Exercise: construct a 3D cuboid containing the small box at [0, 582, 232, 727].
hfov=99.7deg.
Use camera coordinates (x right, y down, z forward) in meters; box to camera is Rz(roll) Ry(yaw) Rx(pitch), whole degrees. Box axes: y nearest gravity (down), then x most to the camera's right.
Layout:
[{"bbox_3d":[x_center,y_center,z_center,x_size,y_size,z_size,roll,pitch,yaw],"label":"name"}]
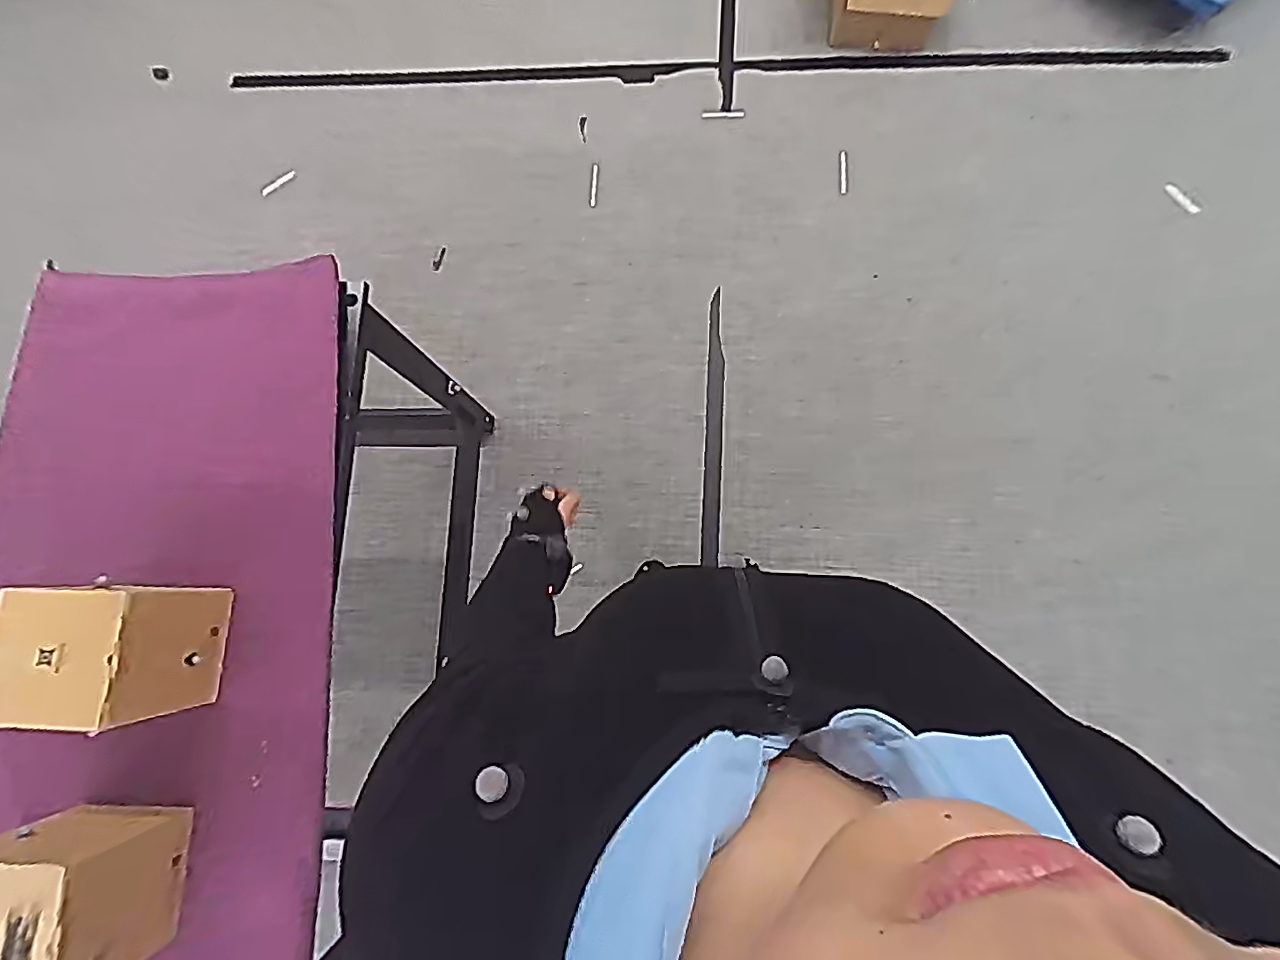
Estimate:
[{"bbox_3d":[-0.718,0.228,0.741,0.179,0.176,0.168,1,79,3],"label":"small box"}]
